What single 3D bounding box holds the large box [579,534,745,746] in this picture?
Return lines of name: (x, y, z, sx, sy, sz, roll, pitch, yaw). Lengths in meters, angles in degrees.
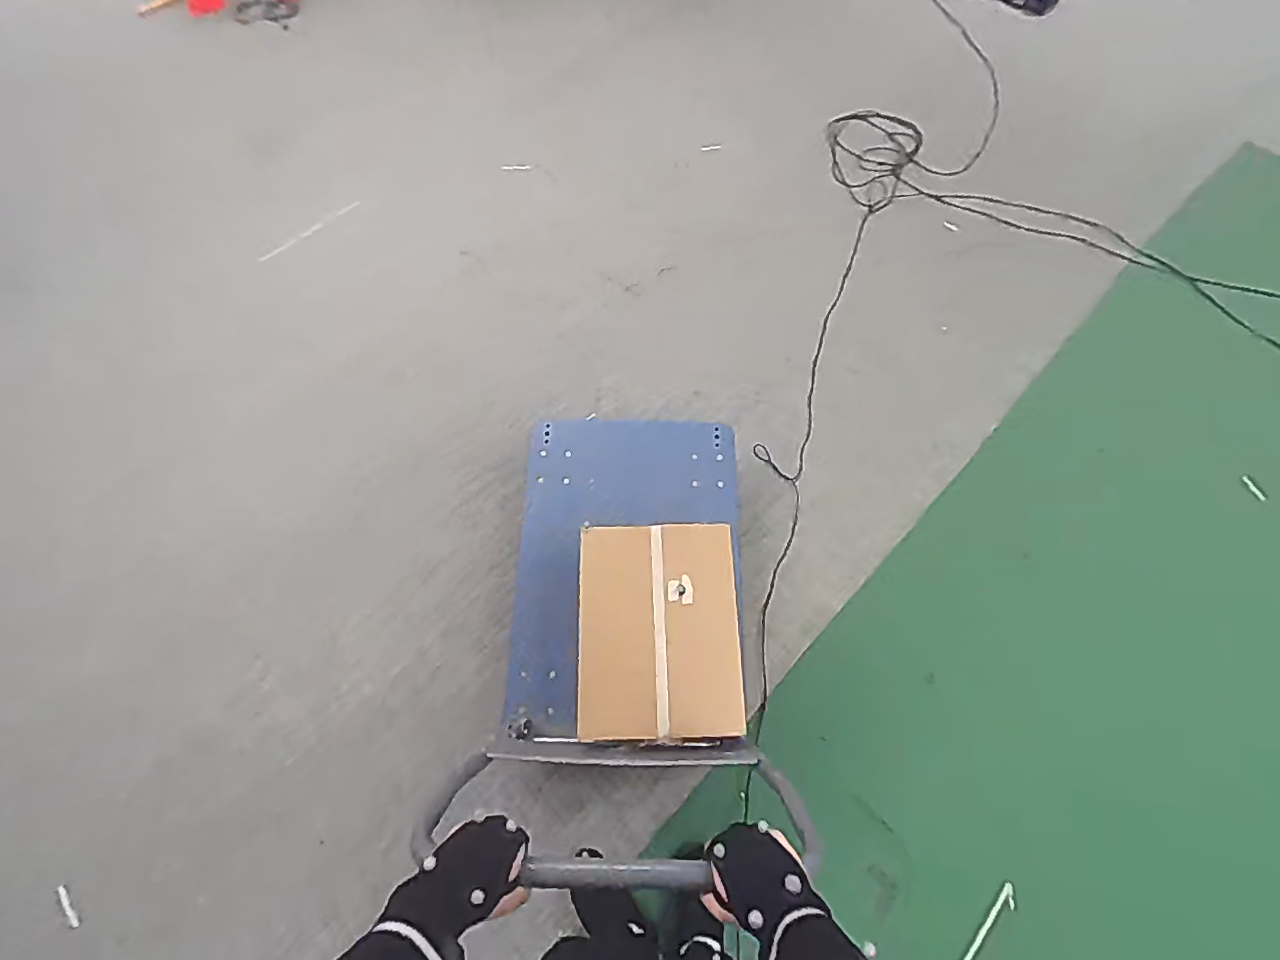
large box: (0.037, 0.360, 1.212, 0.320, 0.320, 0.408, -1, 68, -1)
